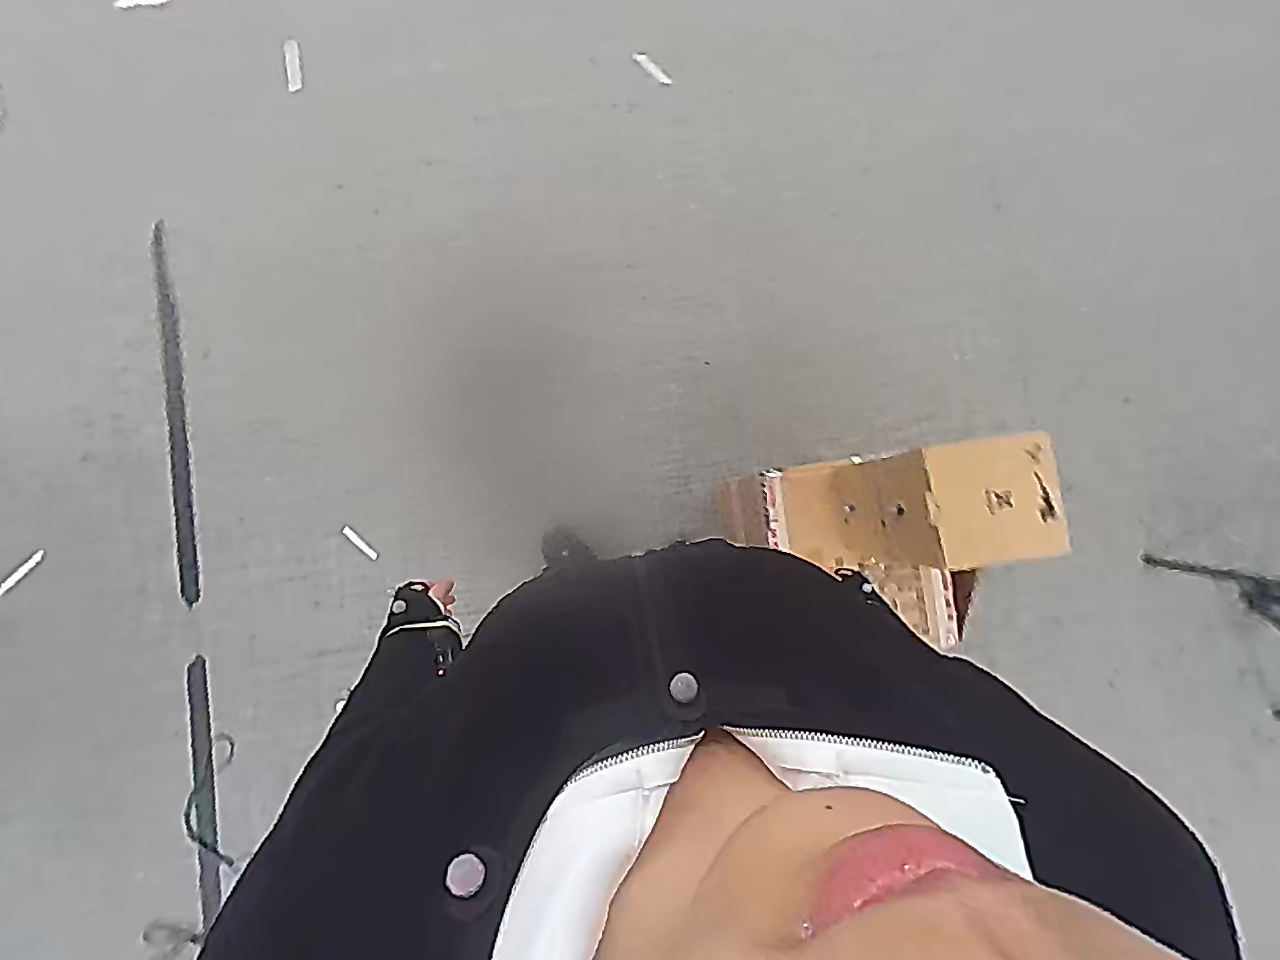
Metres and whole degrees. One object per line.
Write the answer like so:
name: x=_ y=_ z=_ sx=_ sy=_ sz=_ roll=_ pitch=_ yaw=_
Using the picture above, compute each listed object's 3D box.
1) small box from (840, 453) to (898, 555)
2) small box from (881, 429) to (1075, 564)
small box: x=0.482 y=0.034 z=0.959 sx=0.179 sy=0.176 sz=0.168 roll=-9 pitch=85 yaw=-1
small box: x=0.475 y=0.029 z=0.794 sx=0.179 sy=0.176 sz=0.168 roll=-8 pitch=86 yaw=0
